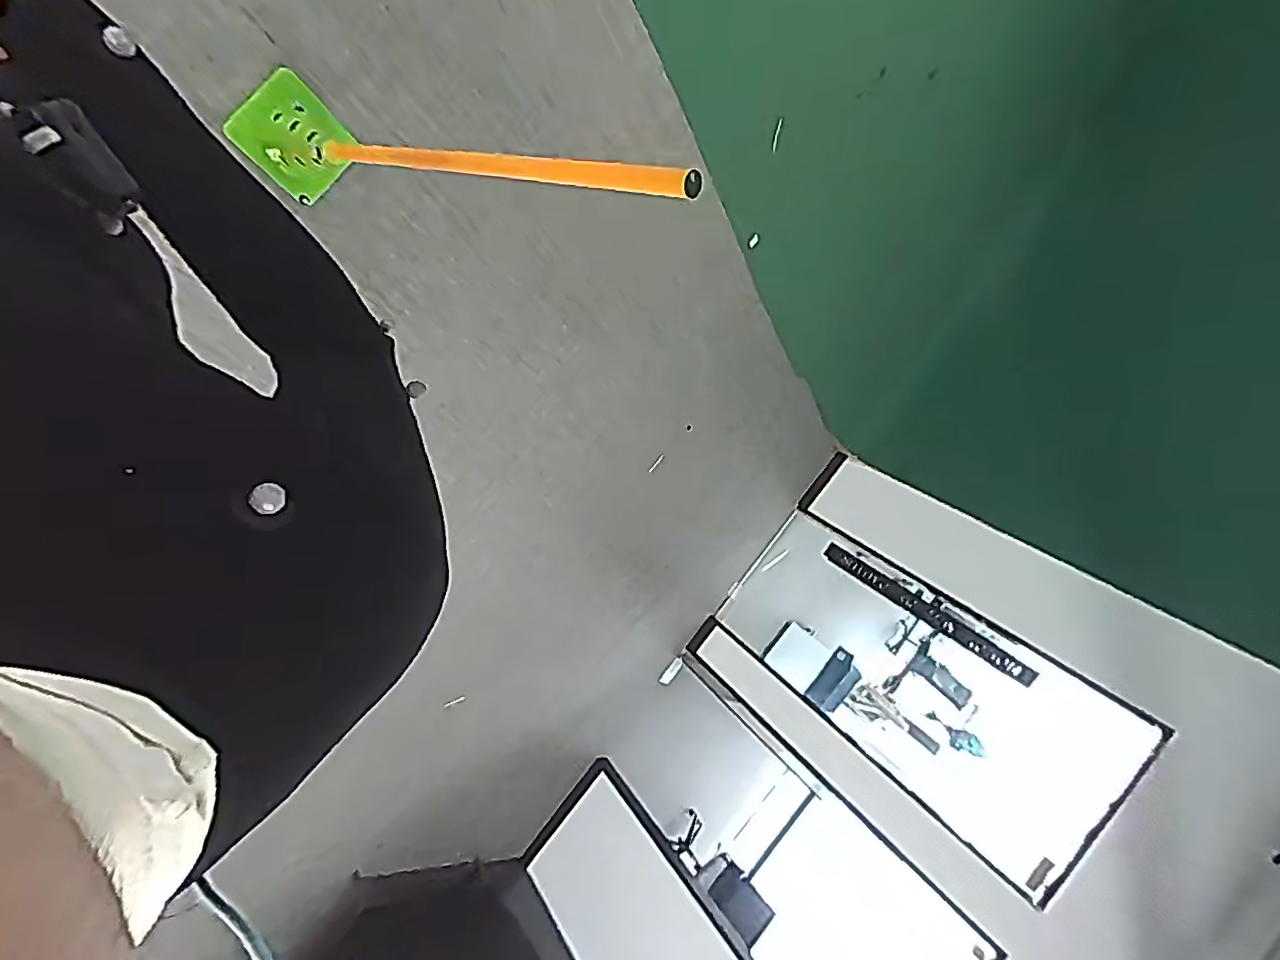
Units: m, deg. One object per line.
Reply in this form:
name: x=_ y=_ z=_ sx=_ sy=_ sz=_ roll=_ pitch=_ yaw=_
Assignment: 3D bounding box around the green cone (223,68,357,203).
green cone: x=-0.673 y=-0.688 z=1.103 sx=0.200 sy=0.368 sz=0.202 roll=-51 pitch=139 yaw=-4
